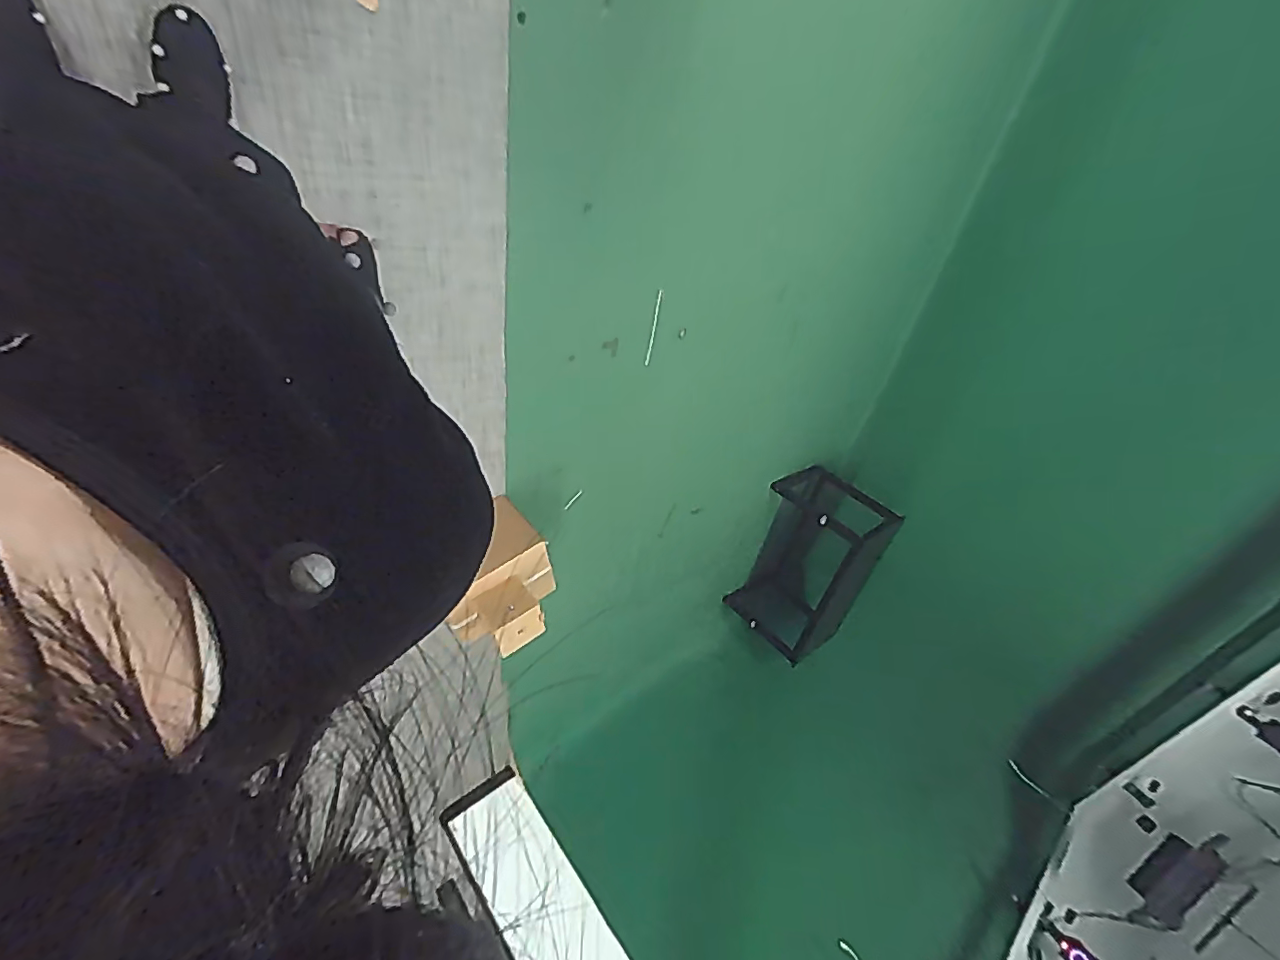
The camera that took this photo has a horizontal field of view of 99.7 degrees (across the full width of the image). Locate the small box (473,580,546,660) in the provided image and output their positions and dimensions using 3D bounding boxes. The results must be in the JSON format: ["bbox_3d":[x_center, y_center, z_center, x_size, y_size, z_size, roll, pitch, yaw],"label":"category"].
[{"bbox_3d":[-0.455,0.483,1.892,0.179,0.176,0.168,-29,138,-28],"label":"small box"}]

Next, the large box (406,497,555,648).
[{"bbox_3d":[-0.591,0.340,2.042,0.408,0.320,0.320,-32,143,-26],"label":"large box"}]
